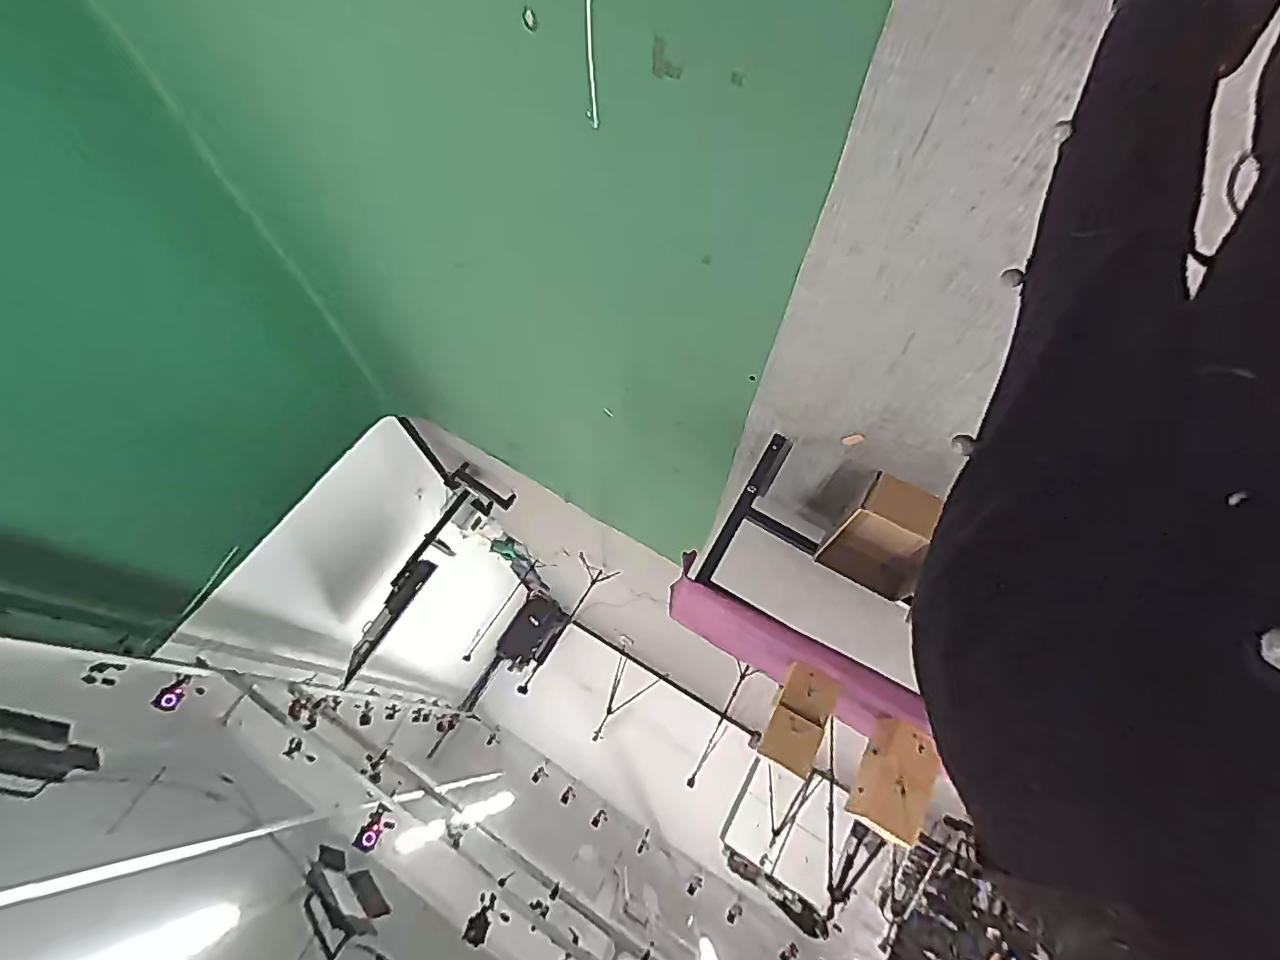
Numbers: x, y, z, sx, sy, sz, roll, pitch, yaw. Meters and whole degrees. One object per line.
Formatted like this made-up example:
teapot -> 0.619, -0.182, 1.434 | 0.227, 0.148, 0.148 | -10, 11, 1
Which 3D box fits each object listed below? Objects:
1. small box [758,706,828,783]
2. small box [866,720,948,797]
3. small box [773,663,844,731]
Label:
small box -> 0.507, 0.875, 1.793 | 0.168, 0.176, 0.179 | 24, 157, 21
small box -> 0.892, 0.920, 1.804 | 0.168, 0.176, 0.179 | 30, 157, 11
small box -> 0.586, 0.753, 1.876 | 0.168, 0.176, 0.179 | 28, 158, 16
